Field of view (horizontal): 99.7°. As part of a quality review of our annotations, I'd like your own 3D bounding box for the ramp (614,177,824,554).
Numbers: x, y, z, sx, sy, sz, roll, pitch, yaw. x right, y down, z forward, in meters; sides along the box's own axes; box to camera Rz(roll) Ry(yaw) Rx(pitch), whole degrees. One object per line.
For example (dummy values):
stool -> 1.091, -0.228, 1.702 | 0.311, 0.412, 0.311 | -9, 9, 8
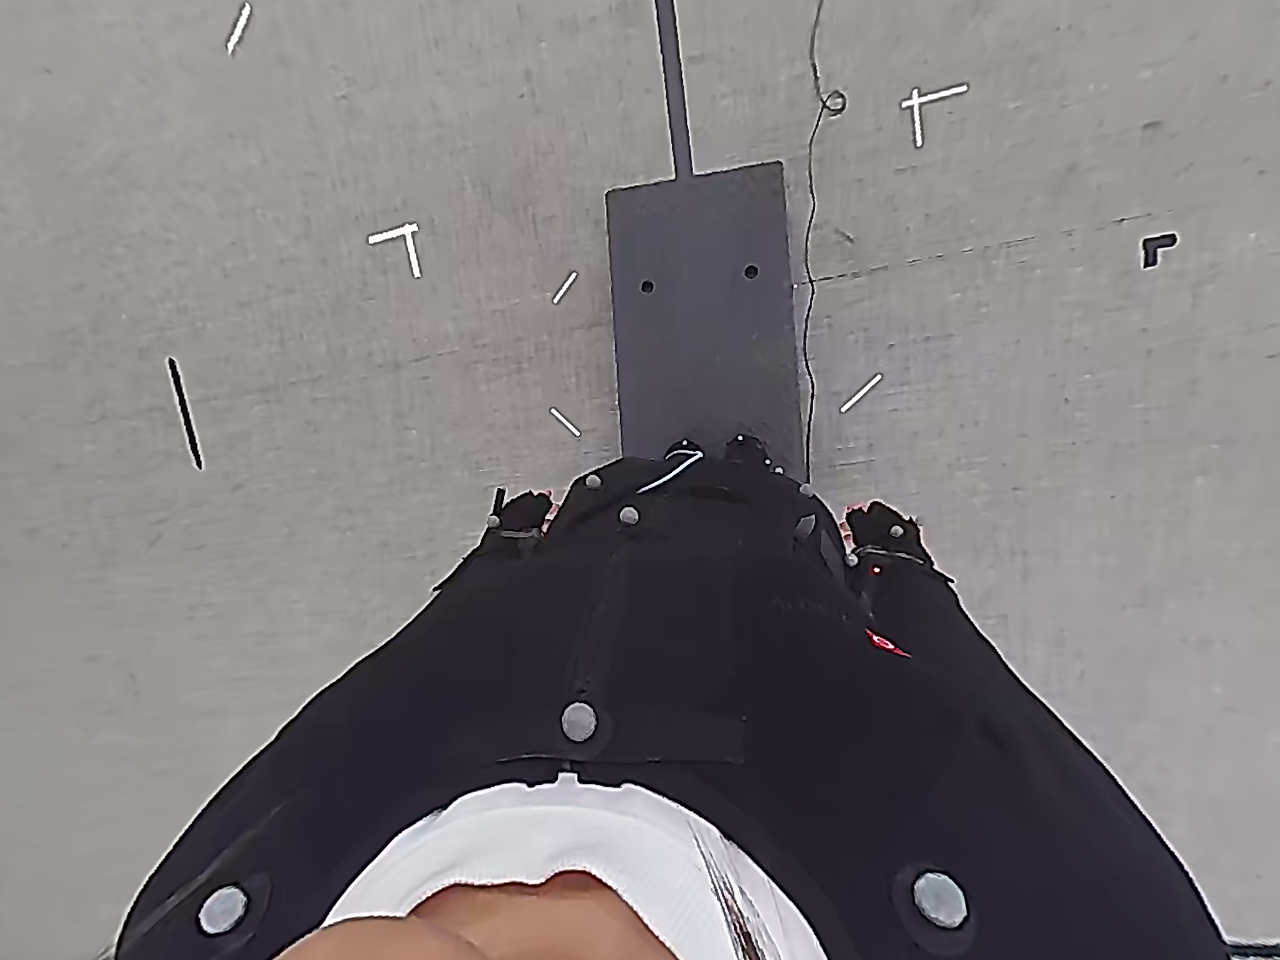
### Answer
ramp -> 0.197, -0.311, 1.487 | 0.509, 0.206, 0.991 | -7, 95, 13
